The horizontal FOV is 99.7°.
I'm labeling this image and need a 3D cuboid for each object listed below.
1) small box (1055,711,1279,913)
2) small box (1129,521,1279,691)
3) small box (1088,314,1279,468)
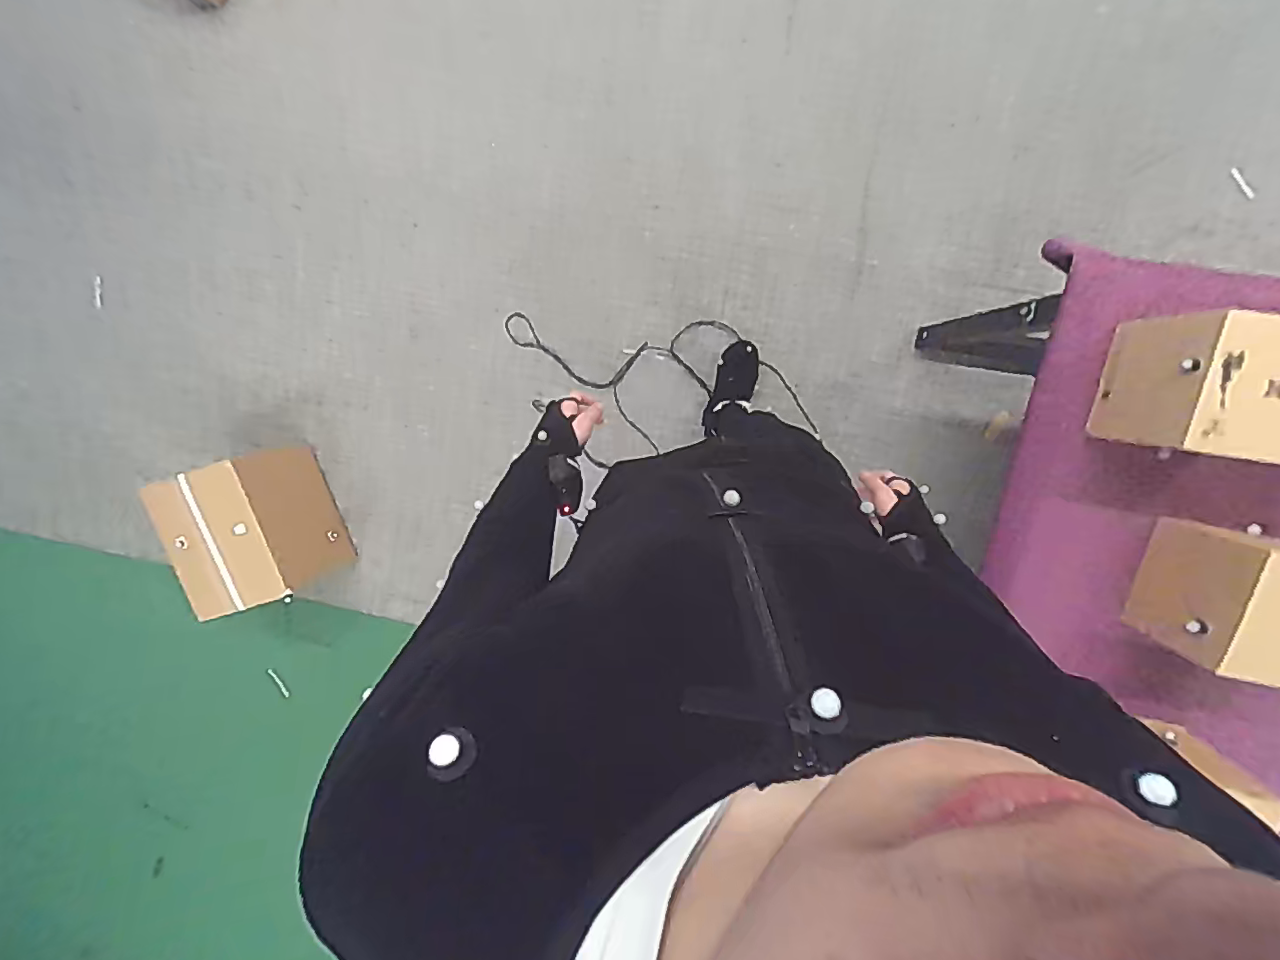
[{"bbox_3d":[0.781,0.489,0.819,0.168,0.176,0.179,12,100,4],"label":"small box"},{"bbox_3d":[0.845,0.173,0.751,0.168,0.176,0.179,11,102,4],"label":"small box"},{"bbox_3d":[0.753,-0.114,0.707,0.179,0.176,0.168,9,101,3],"label":"small box"}]
